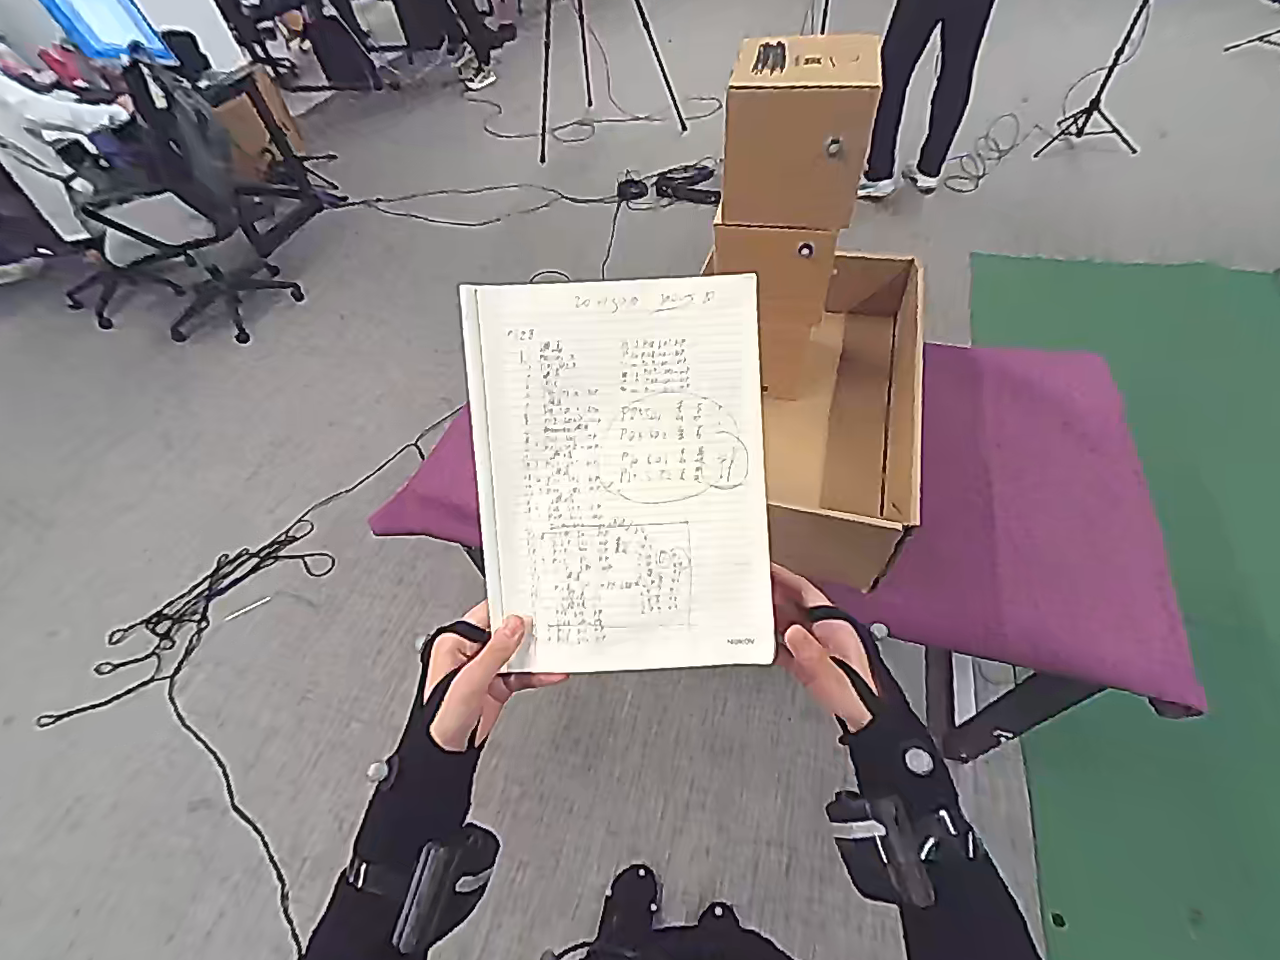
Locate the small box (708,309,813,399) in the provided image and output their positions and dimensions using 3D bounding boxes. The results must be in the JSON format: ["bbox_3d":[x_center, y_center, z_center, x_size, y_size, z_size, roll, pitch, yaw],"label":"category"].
[{"bbox_3d":[0.227,-0.271,0.992,0.168,0.176,0.179,11,56,15],"label":"small box"}]

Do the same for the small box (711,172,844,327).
[{"bbox_3d":[0.214,-0.364,0.860,0.179,0.176,0.168,9,56,14],"label":"small box"}]
